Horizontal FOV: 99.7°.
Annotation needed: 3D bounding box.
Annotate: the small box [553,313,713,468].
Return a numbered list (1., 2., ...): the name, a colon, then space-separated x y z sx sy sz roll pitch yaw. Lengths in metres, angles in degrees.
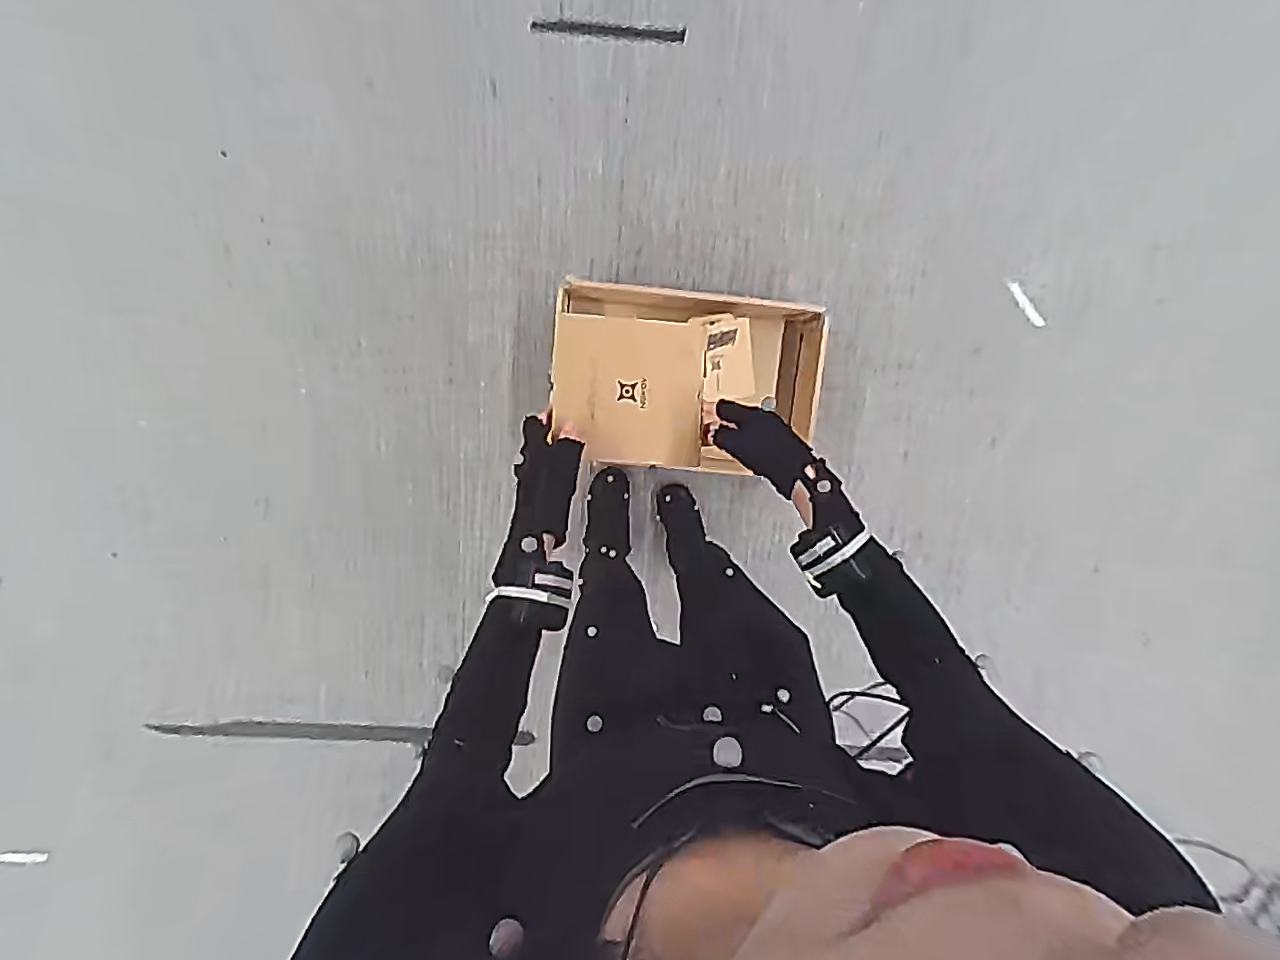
1. small box: -0.019 -0.105 0.680 0.179 0.176 0.168 1 94 -8
